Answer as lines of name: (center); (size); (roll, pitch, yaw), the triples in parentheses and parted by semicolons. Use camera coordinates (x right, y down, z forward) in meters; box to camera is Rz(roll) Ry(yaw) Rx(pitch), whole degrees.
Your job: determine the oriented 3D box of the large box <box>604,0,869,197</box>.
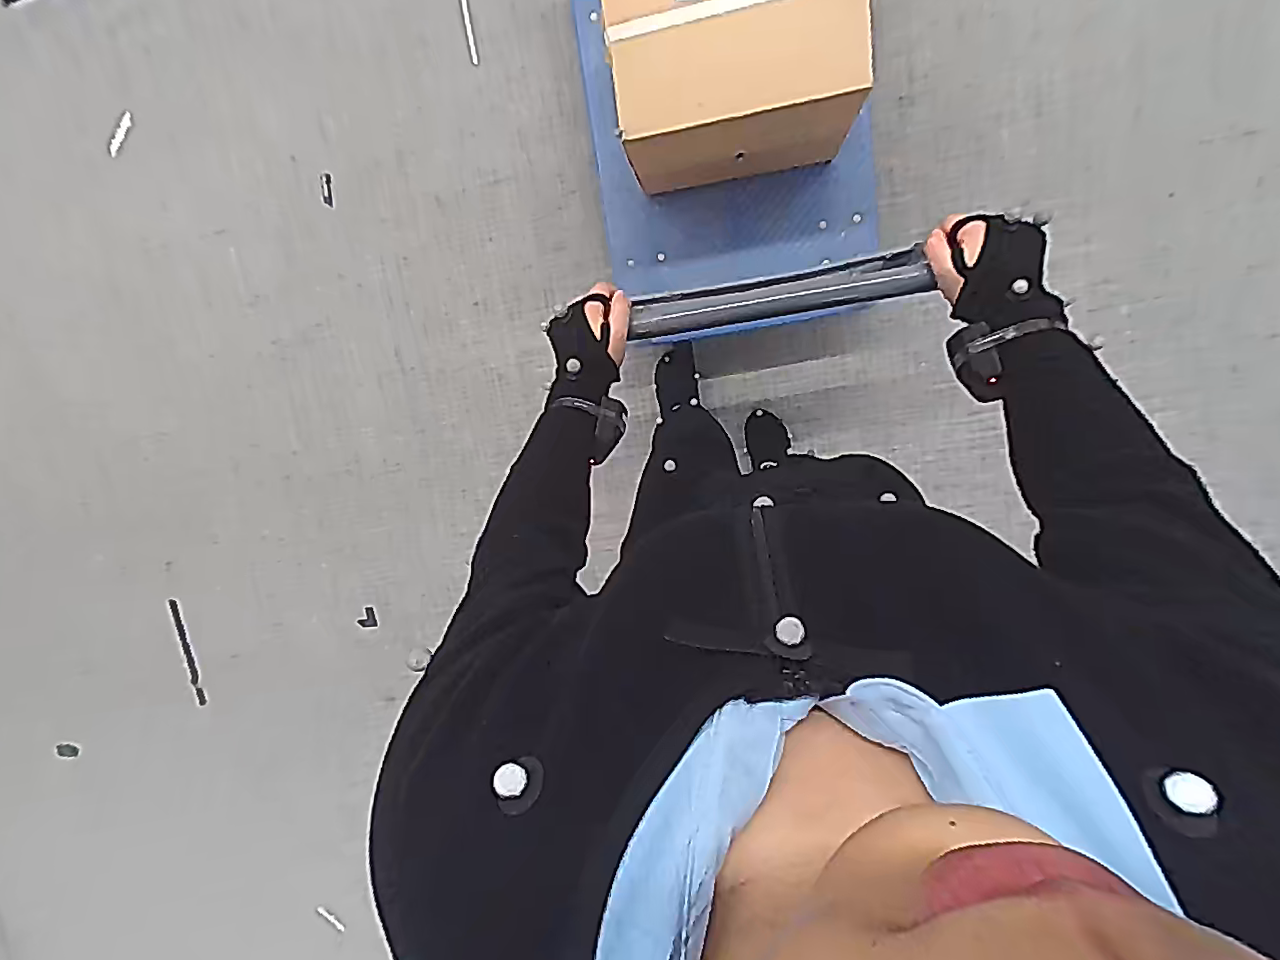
large box: (0.171, -0.770, 1.005); (0.408, 0.320, 0.320); (-7, 100, 11)
